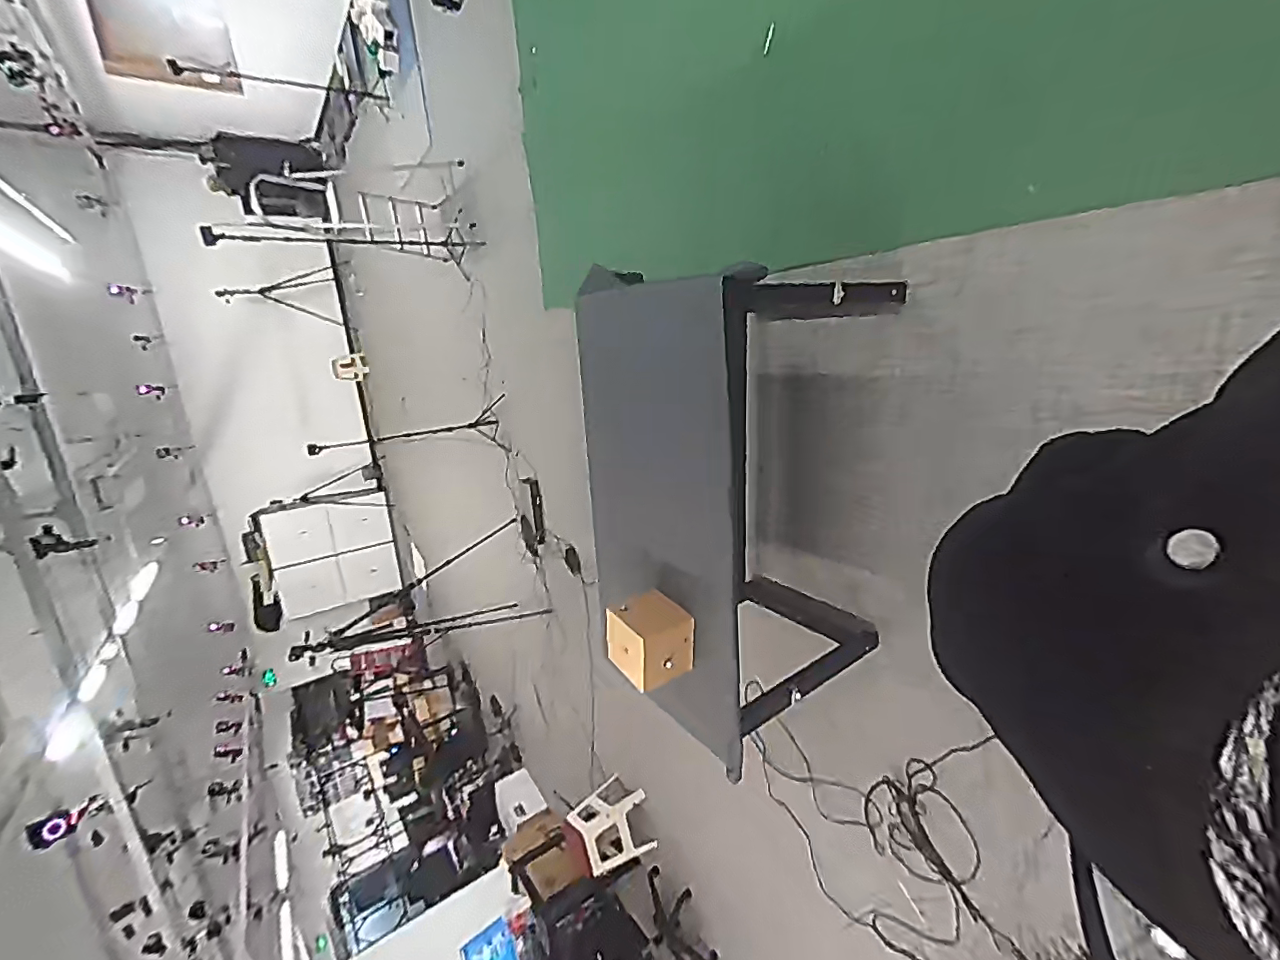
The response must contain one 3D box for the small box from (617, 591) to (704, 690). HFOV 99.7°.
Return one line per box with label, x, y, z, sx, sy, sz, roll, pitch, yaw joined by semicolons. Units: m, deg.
small box;0.056;0.418;1.447;0.179;0.176;0.168;26;123;52
